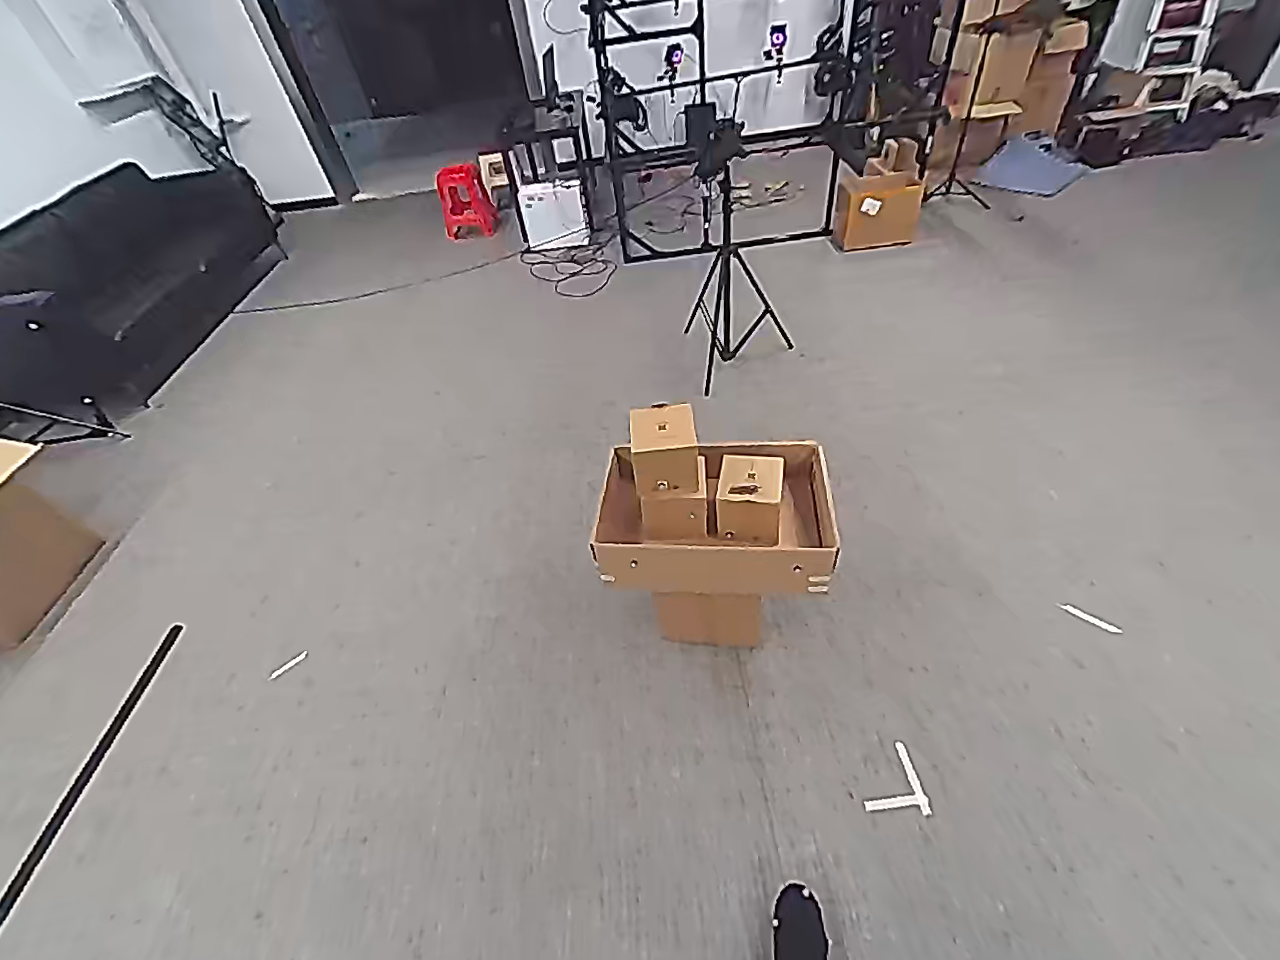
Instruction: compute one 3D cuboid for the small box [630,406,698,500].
[{"bbox_3d":[0.063,-0.071,1.427,0.168,0.176,0.179,-6,44,3],"label":"small box"}]
